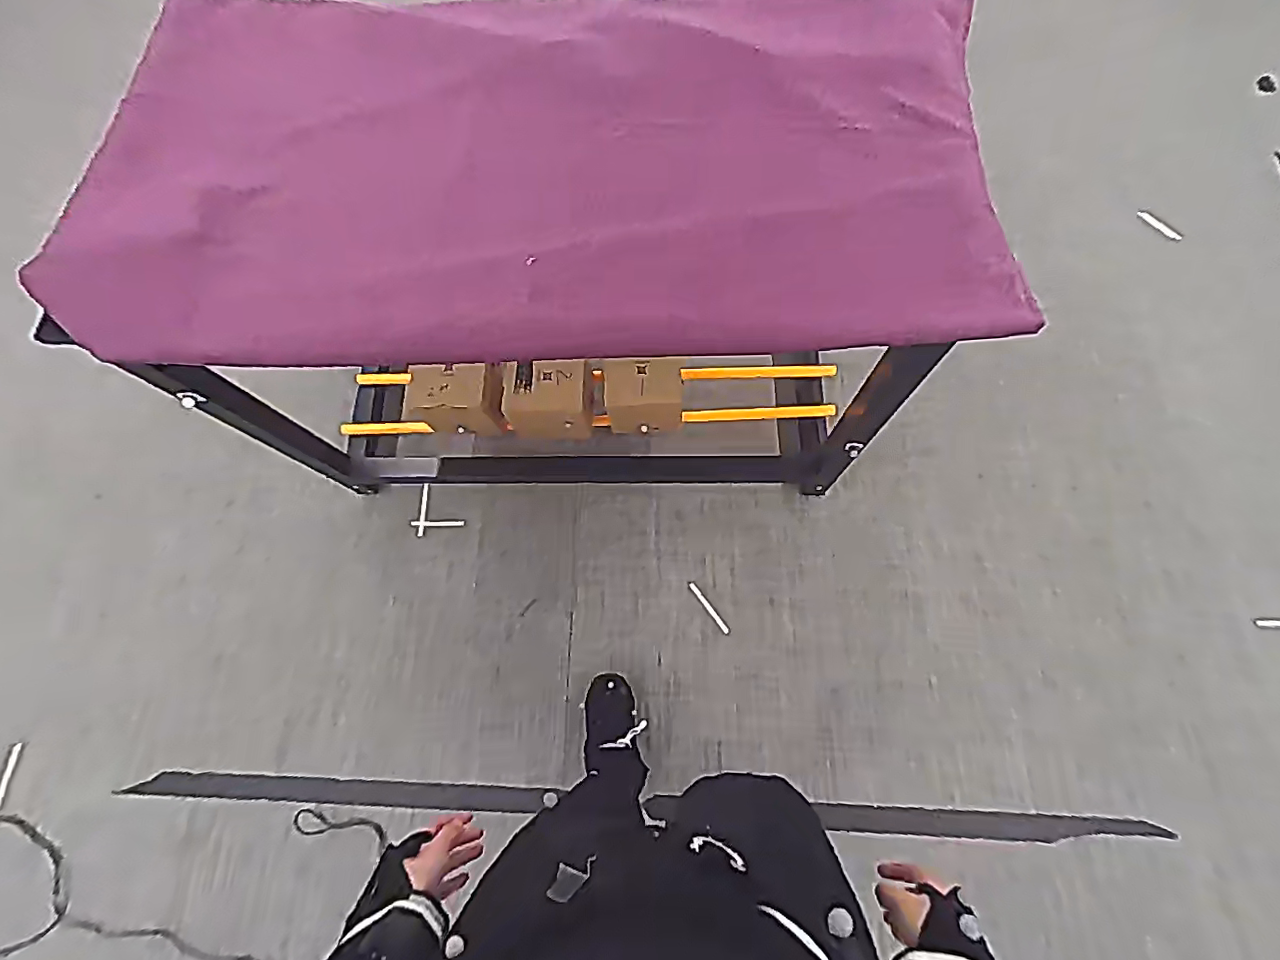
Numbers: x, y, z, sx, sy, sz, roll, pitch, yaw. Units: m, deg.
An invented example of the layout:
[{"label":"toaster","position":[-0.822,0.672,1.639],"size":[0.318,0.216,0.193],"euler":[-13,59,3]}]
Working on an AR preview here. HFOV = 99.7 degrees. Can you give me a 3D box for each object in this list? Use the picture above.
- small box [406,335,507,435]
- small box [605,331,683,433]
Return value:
[{"label":"small box","position":[-0.414,-0.216,1.253],"size":[0.168,0.176,0.179],"euler":[0,74,3]},{"label":"small box","position":[0.011,-0.218,1.232],"size":[0.168,0.176,0.179],"euler":[-2,74,4]}]
